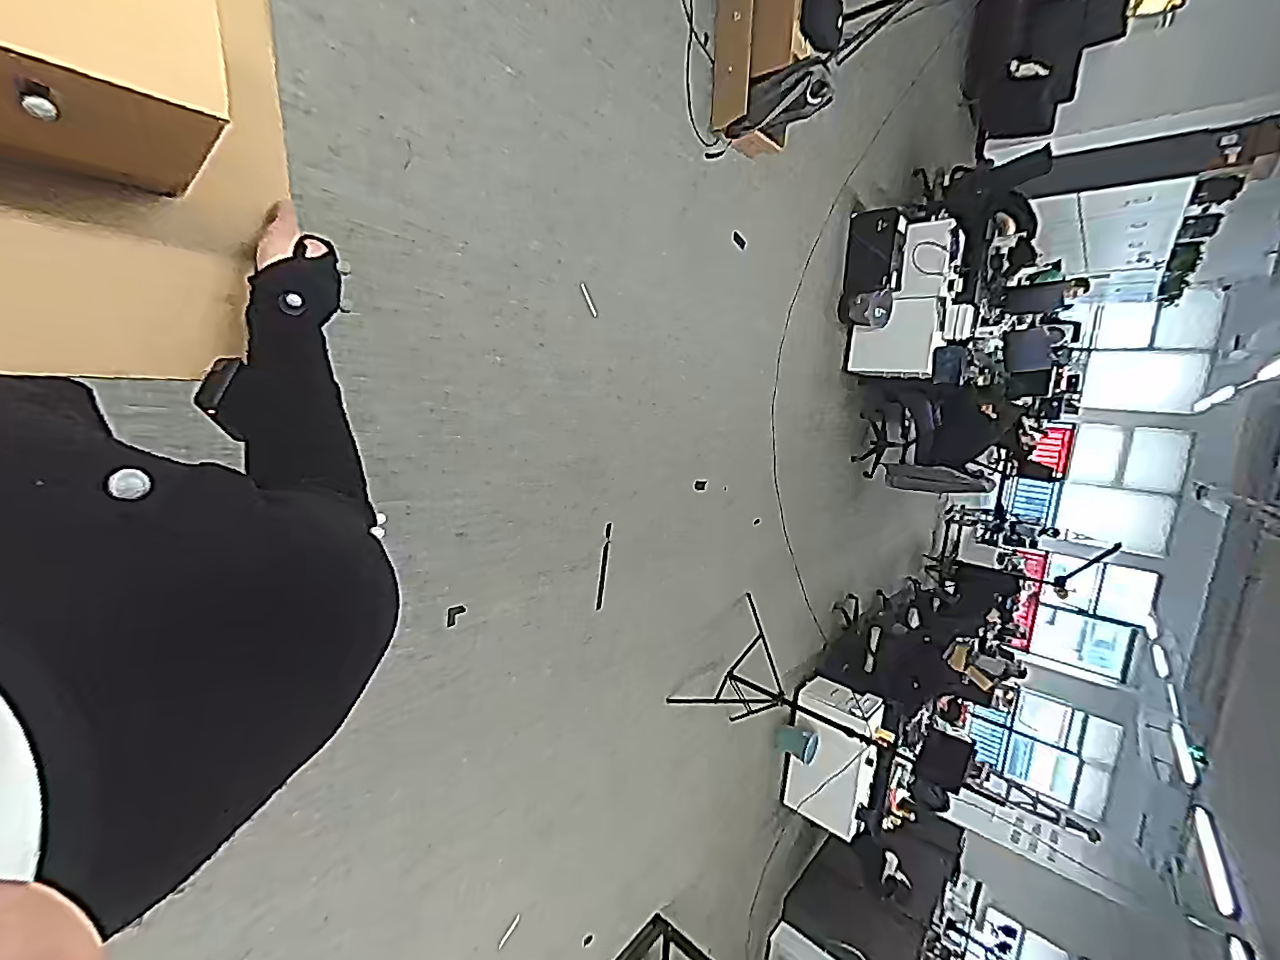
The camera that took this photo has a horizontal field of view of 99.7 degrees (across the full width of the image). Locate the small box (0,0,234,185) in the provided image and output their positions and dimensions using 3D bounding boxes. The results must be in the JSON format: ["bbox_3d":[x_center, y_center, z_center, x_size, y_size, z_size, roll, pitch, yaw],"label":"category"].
[{"bbox_3d":[-0.426,-0.339,0.387,0.179,0.176,0.168,-9,98,-48],"label":"small box"}]
